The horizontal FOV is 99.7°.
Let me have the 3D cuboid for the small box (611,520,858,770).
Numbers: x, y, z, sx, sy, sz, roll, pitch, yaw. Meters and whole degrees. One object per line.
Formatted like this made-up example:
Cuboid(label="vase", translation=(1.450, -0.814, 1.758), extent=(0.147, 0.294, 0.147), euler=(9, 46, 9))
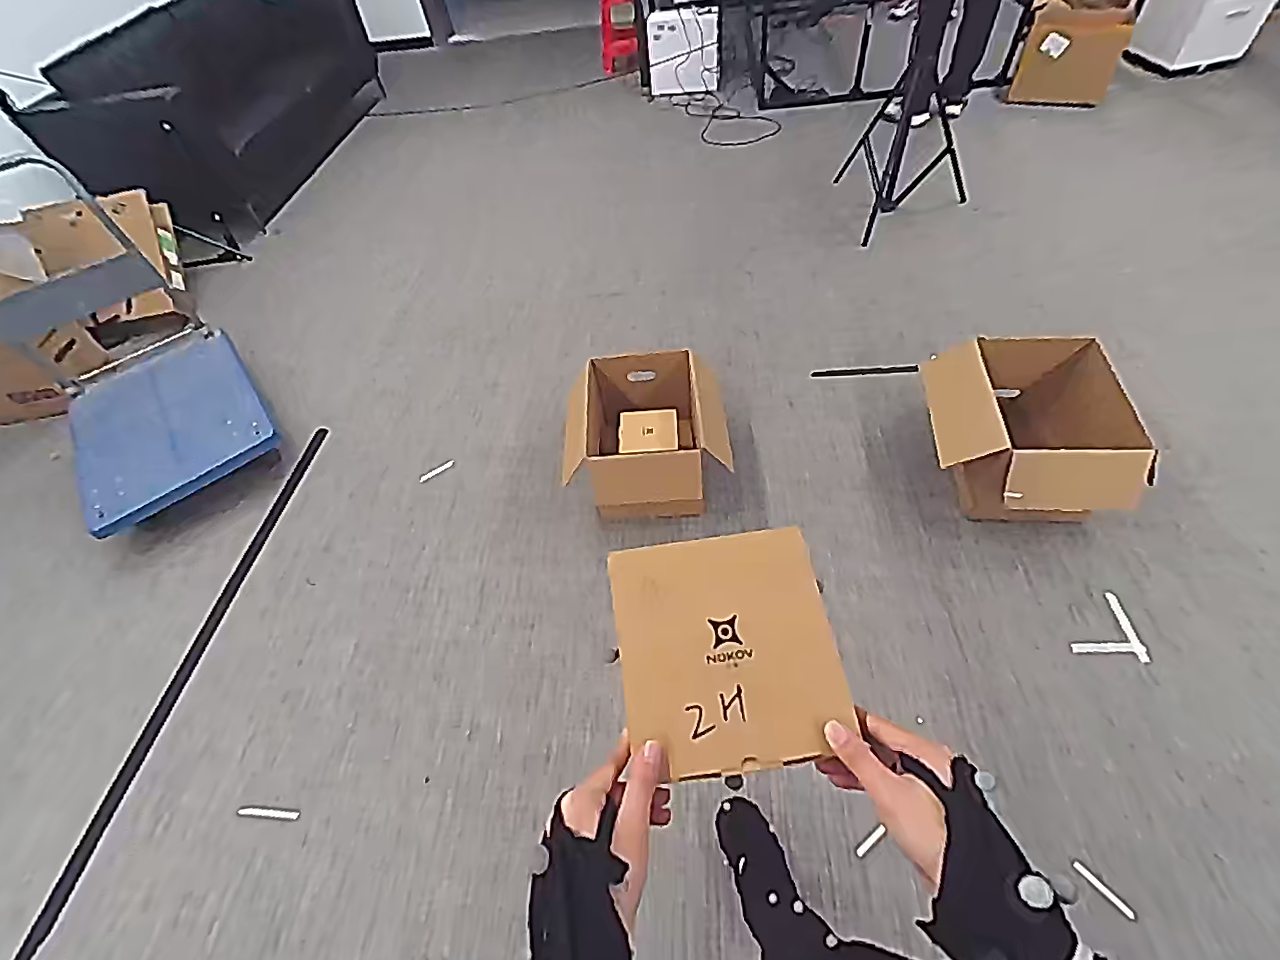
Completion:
Cuboid(label="small box", translation=(0.066, 0.156, 0.491), extent=(0.168, 0.176, 0.179), euler=(-8, 63, -2))
